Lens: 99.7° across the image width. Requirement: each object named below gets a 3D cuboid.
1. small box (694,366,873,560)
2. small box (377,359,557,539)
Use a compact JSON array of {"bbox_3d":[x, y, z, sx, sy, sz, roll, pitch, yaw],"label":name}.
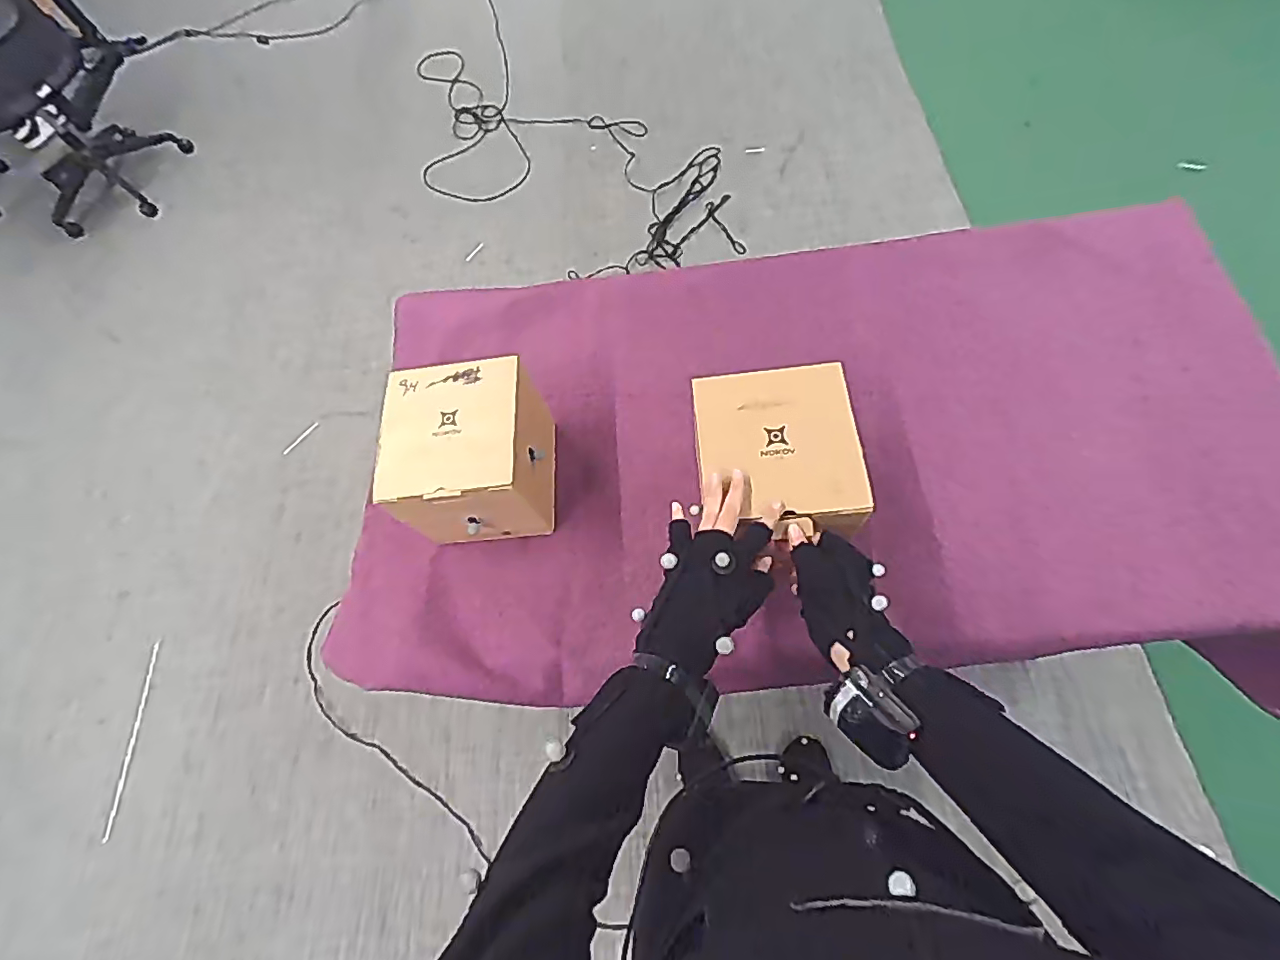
[{"bbox_3d":[0.155,-0.008,0.639,0.168,0.176,0.179,-5,66,6],"label":"small box"},{"bbox_3d":[-0.208,-0.028,0.700,0.168,0.176,0.179,-6,67,5],"label":"small box"}]
